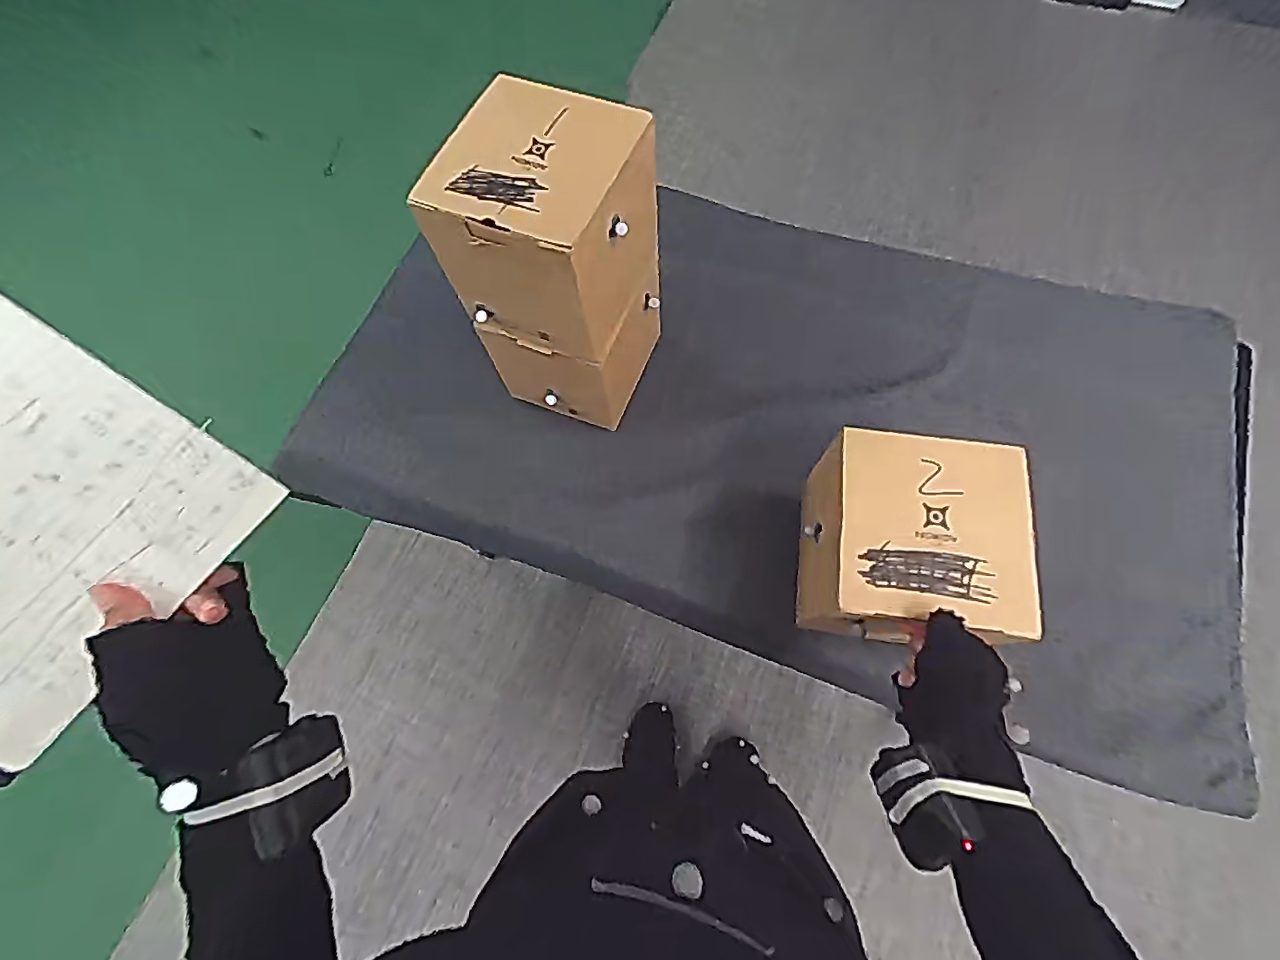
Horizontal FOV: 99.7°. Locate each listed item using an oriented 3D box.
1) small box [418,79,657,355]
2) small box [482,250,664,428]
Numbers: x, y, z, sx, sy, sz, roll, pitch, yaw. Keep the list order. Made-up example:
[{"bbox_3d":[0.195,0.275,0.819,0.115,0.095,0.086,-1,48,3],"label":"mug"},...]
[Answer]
[{"bbox_3d":[-0.085,-0.261,0.562,0.168,0.176,0.179,22,71,10],"label":"small box"},{"bbox_3d":[-0.076,-0.199,0.714,0.168,0.176,0.179,20,71,11],"label":"small box"}]
